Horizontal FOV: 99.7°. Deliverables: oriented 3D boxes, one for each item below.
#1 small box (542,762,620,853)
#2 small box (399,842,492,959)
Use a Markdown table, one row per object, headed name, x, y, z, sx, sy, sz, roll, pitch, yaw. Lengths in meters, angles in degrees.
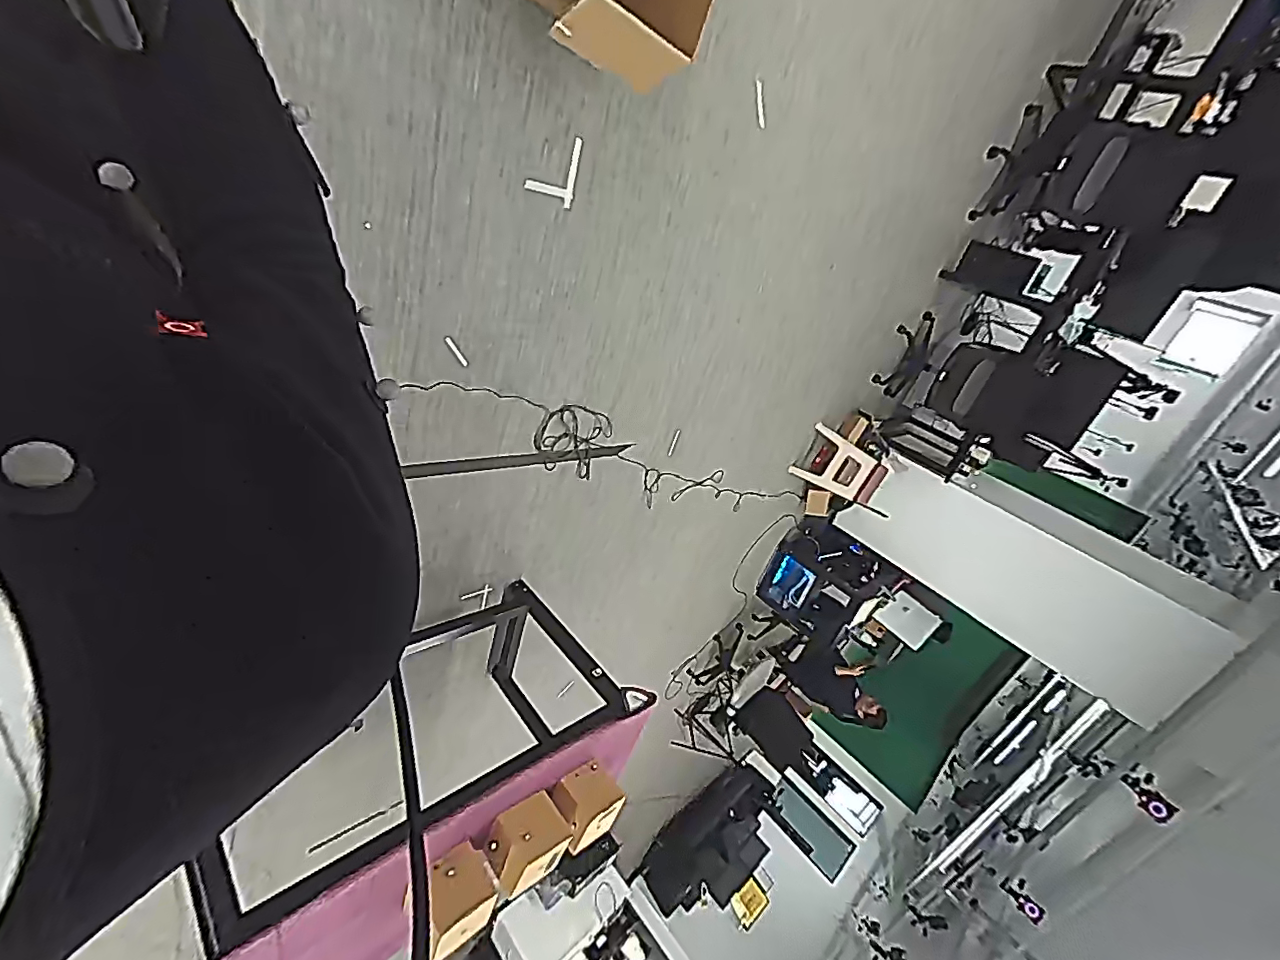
| name | x | y | z | sx | sy | sz | roll | pitch | yaw |
| --- | --- | --- | --- | --- | --- | --- | --- | --- | --- |
| small box | -0.202 | 1.074 | 1.796 | 0.168 | 0.176 | 0.179 | -3 | 123 | -49 |
| small box | -0.525 | 1.125 | 1.448 | 0.168 | 0.176 | 0.179 | -10 | 128 | -47 |
